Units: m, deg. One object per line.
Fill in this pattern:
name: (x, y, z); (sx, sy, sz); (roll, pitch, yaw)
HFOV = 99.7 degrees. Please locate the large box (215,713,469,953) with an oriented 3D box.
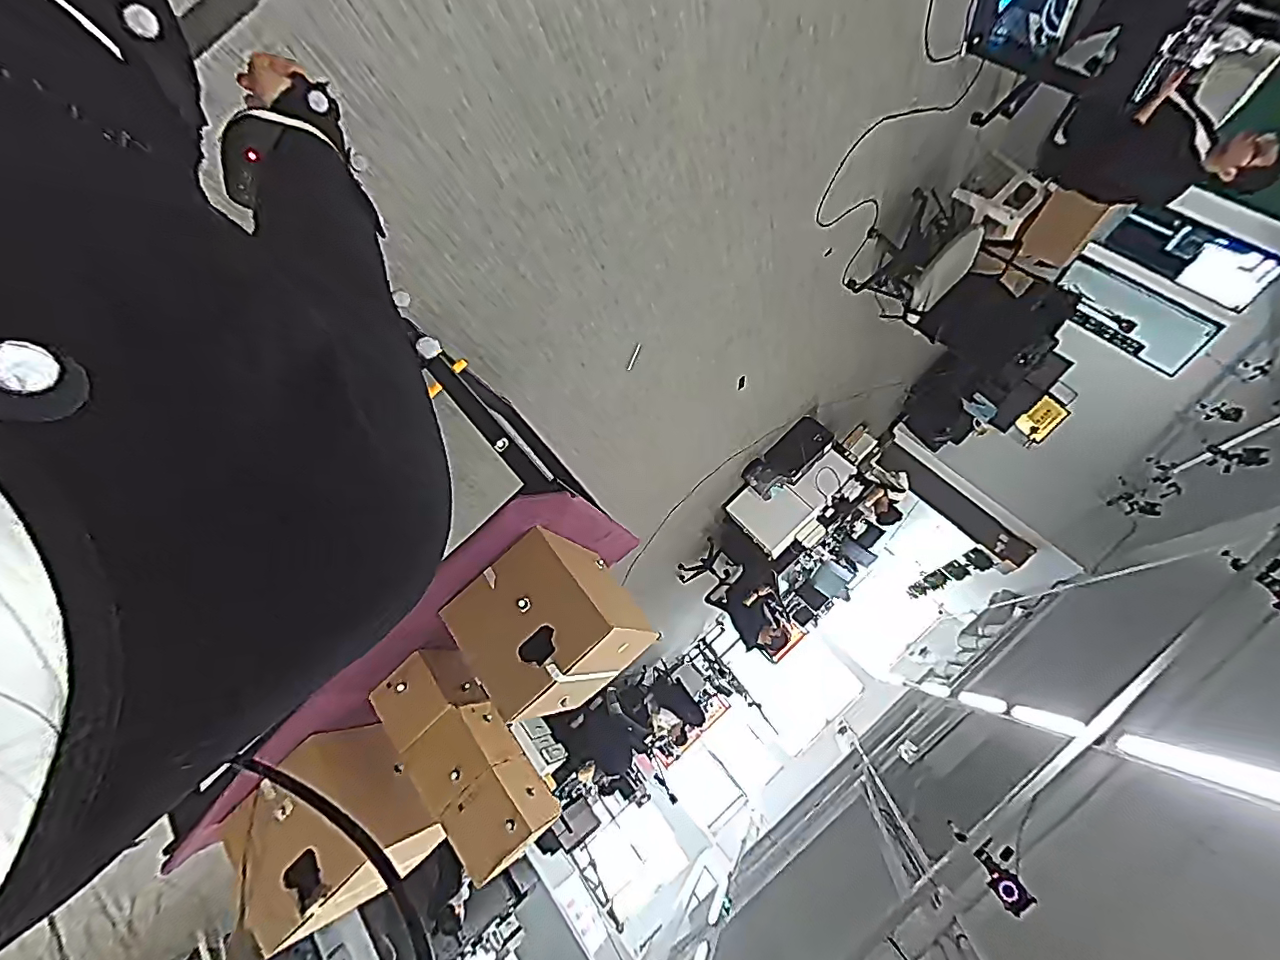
large box: (-0.728, 0.838, 1.364); (0.320, 0.320, 0.408); (-43, 158, 0)
